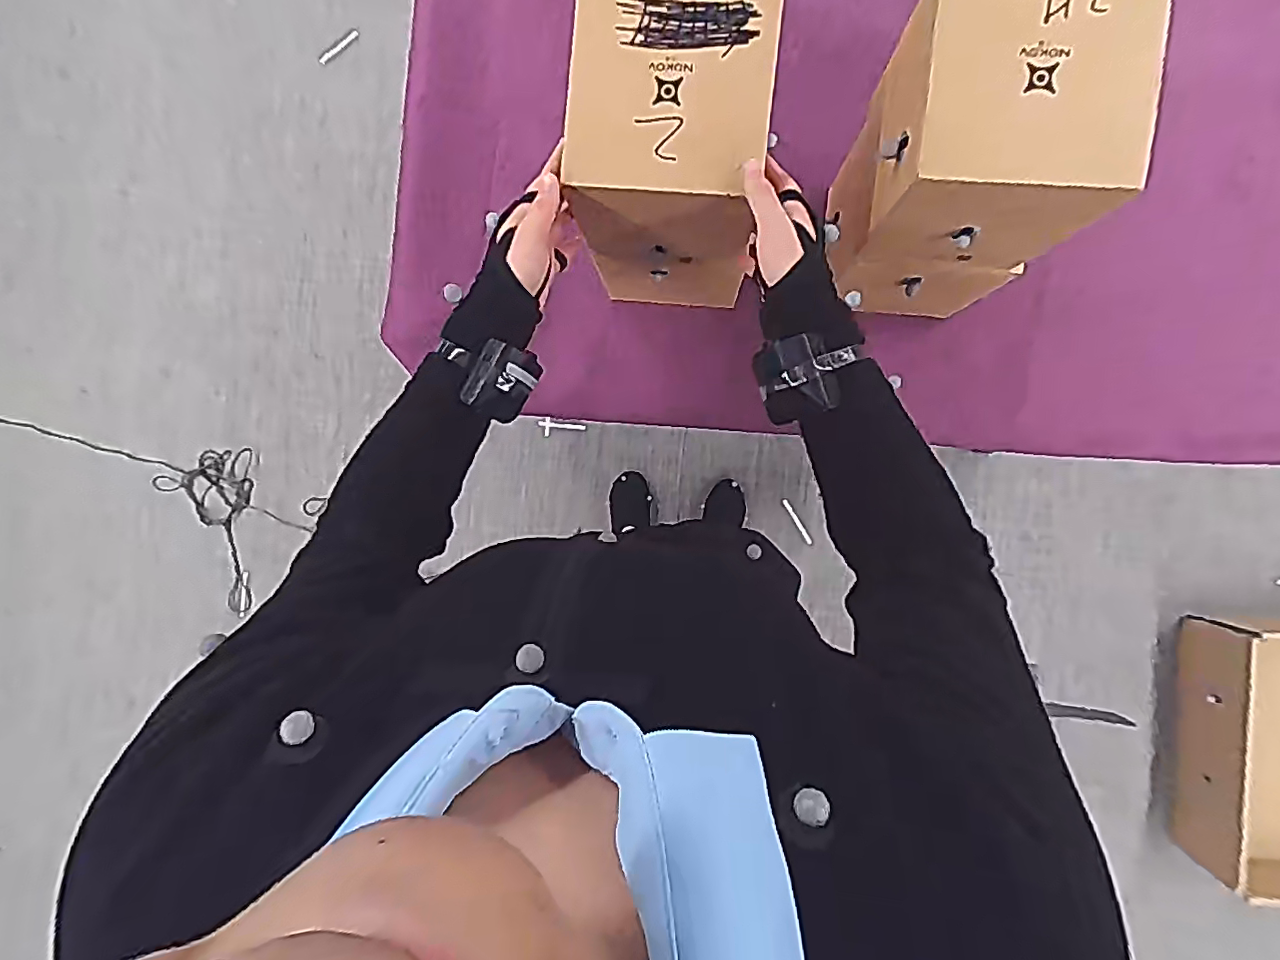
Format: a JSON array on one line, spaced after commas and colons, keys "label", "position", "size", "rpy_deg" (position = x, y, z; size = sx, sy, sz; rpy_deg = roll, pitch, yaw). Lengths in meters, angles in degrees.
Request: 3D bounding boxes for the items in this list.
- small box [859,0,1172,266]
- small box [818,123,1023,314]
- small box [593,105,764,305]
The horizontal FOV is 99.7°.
[{"label": "small box", "position": [0.312, -0.311, 0.488], "size": [0.168, 0.176, 0.179], "rpy_deg": [6, 92, 5]}, {"label": "small box", "position": [0.332, -0.307, 0.652], "size": [0.179, 0.176, 0.168], "rpy_deg": [6, 92, 5]}, {"label": "small box", "position": [0.048, -0.327, 0.674], "size": [0.179, 0.176, 0.168], "rpy_deg": [6, 92, 4]}]
